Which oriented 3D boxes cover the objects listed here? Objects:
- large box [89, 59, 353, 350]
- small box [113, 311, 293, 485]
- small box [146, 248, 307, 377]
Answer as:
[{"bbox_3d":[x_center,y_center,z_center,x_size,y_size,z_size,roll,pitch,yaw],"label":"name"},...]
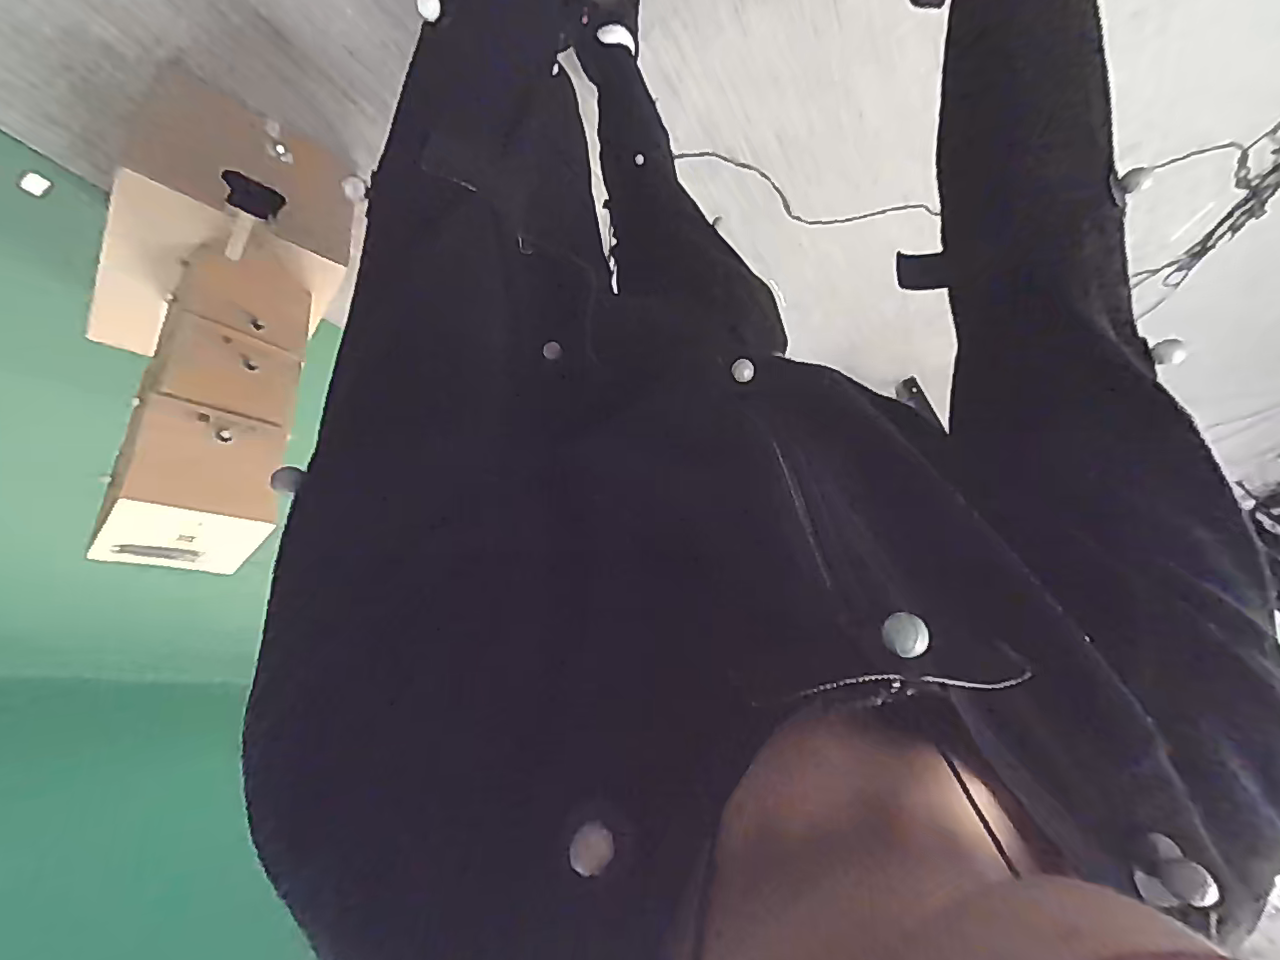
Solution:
[{"bbox_3d":[-0.790,-0.459,1.041,0.320,0.320,0.408,18,139,-42],"label":"large box"},{"bbox_3d":[-0.668,-0.122,0.843,0.179,0.176,0.168,-32,146,27],"label":"small box"},{"bbox_3d":[-0.700,-0.256,0.928,0.168,0.176,0.179,-32,146,28],"label":"small box"}]
